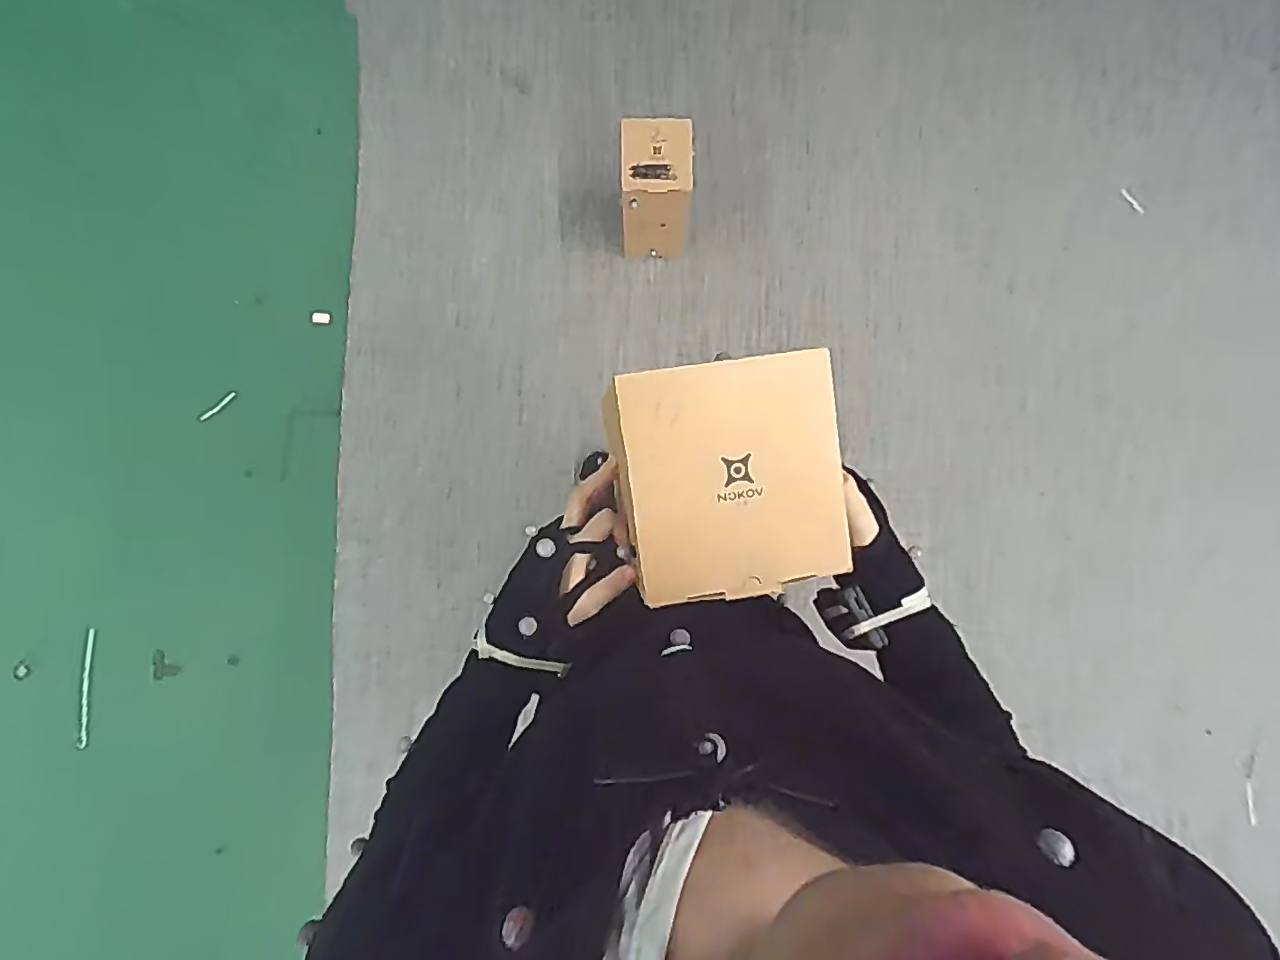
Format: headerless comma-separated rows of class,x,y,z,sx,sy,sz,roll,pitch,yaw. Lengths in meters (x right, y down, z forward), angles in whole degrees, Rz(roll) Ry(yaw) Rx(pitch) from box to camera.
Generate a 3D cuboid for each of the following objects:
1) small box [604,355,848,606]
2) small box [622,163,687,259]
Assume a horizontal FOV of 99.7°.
small box,0.063,-0.005,0.491,0.168,0.176,0.179,-9,96,-6
small box,0.036,-0.731,1.477,0.168,0.176,0.179,1,87,0
